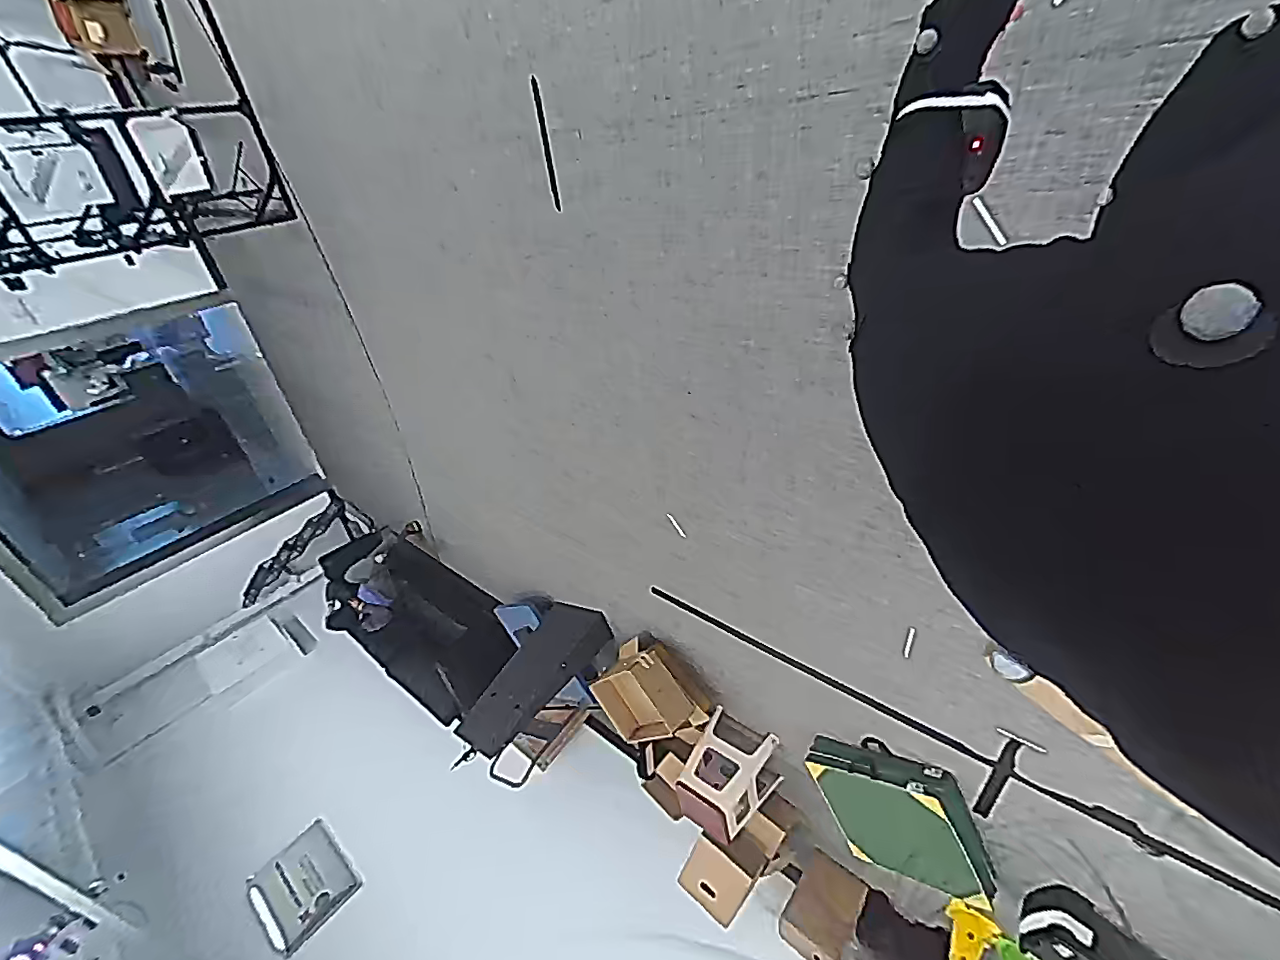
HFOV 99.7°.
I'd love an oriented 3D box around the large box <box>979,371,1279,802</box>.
[{"bbox_3d":[0.684,0.120,0.588,0.320,0.320,0.408,37,152,2],"label":"large box"}]
